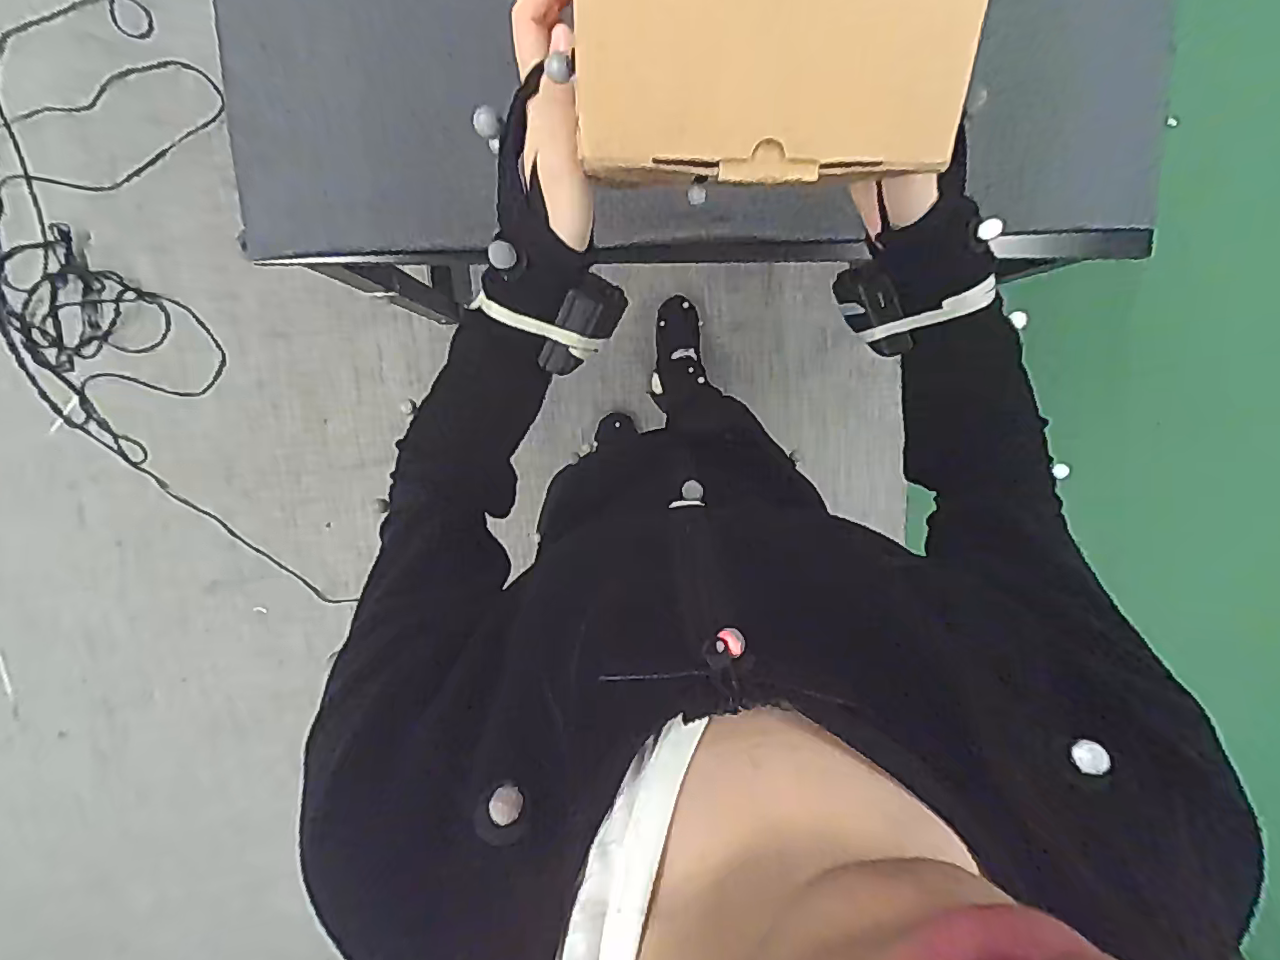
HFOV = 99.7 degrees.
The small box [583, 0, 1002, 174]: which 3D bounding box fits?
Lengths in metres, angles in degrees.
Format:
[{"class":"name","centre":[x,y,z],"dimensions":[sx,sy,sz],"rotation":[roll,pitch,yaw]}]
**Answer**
[{"class":"small box","centre":[0.055,-0.255,0.263],"dimensions":[0.168,0.176,0.179],"rotation":[-2,117,-3]}]
